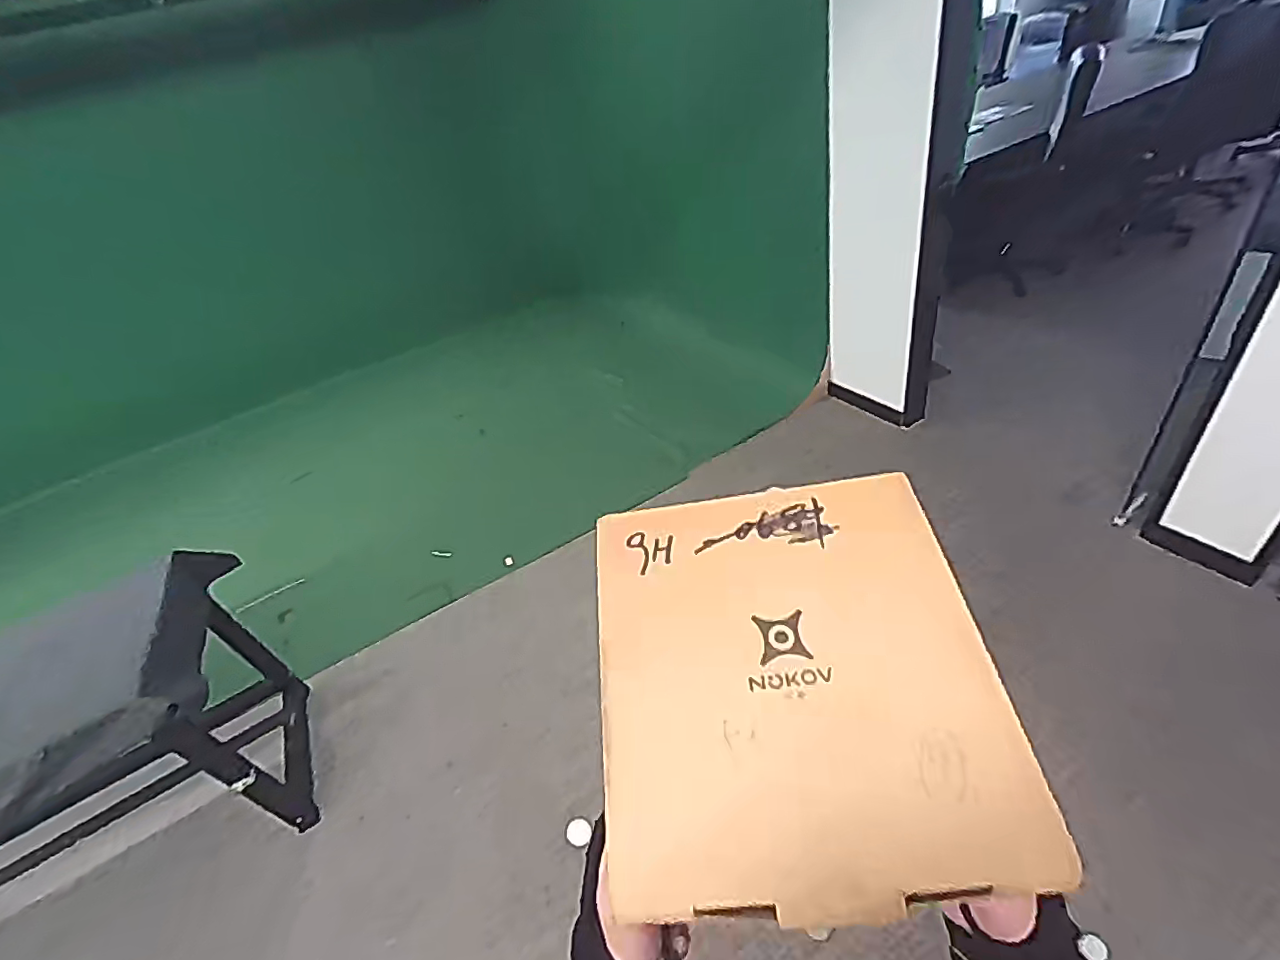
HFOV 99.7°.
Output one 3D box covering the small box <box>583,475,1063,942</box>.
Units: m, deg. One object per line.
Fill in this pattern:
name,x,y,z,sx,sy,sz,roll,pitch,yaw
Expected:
small box,0.066,0.123,0.297,0.168,0.176,0.179,-8,55,3
